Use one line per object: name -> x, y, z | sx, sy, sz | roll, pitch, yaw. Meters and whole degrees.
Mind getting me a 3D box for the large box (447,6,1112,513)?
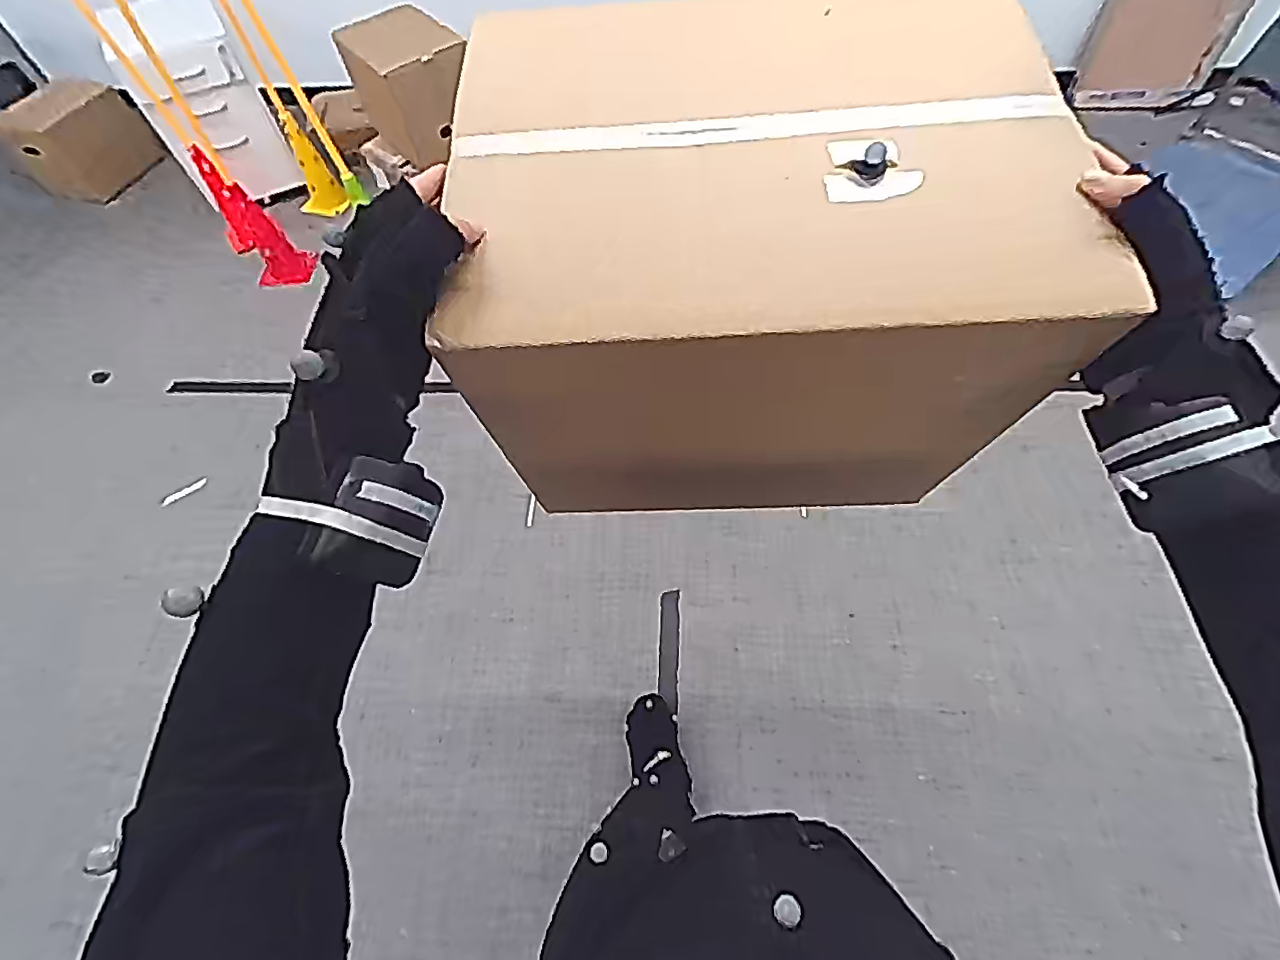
large box -> 0.079, -0.168, 0.513 | 0.408, 0.320, 0.320 | -2, 69, 2
